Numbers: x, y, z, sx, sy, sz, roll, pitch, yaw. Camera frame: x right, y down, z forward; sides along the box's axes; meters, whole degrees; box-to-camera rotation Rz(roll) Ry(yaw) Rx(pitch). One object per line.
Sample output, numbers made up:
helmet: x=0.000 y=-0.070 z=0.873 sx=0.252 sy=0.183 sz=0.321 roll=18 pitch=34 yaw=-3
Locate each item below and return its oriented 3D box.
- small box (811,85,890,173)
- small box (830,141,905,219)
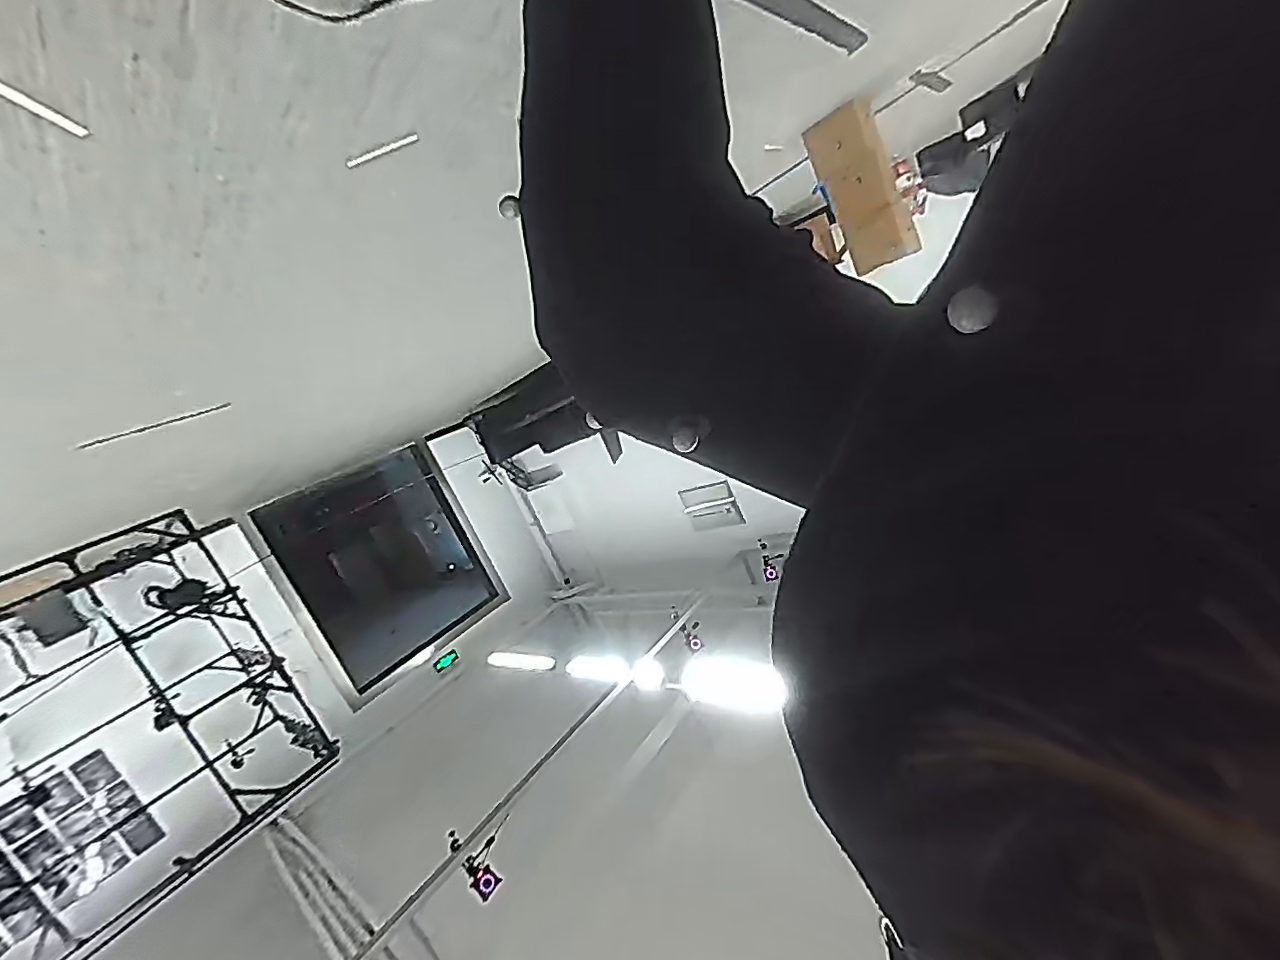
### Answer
small box: x=0.669 y=-1.120 z=1.735 sx=0.179 sy=0.176 sz=0.168 roll=-14 pitch=-165 yaw=46
small box: x=0.747 y=-0.981 z=1.771 sx=0.168 sy=0.176 sz=0.179 roll=-15 pitch=-166 yaw=41
